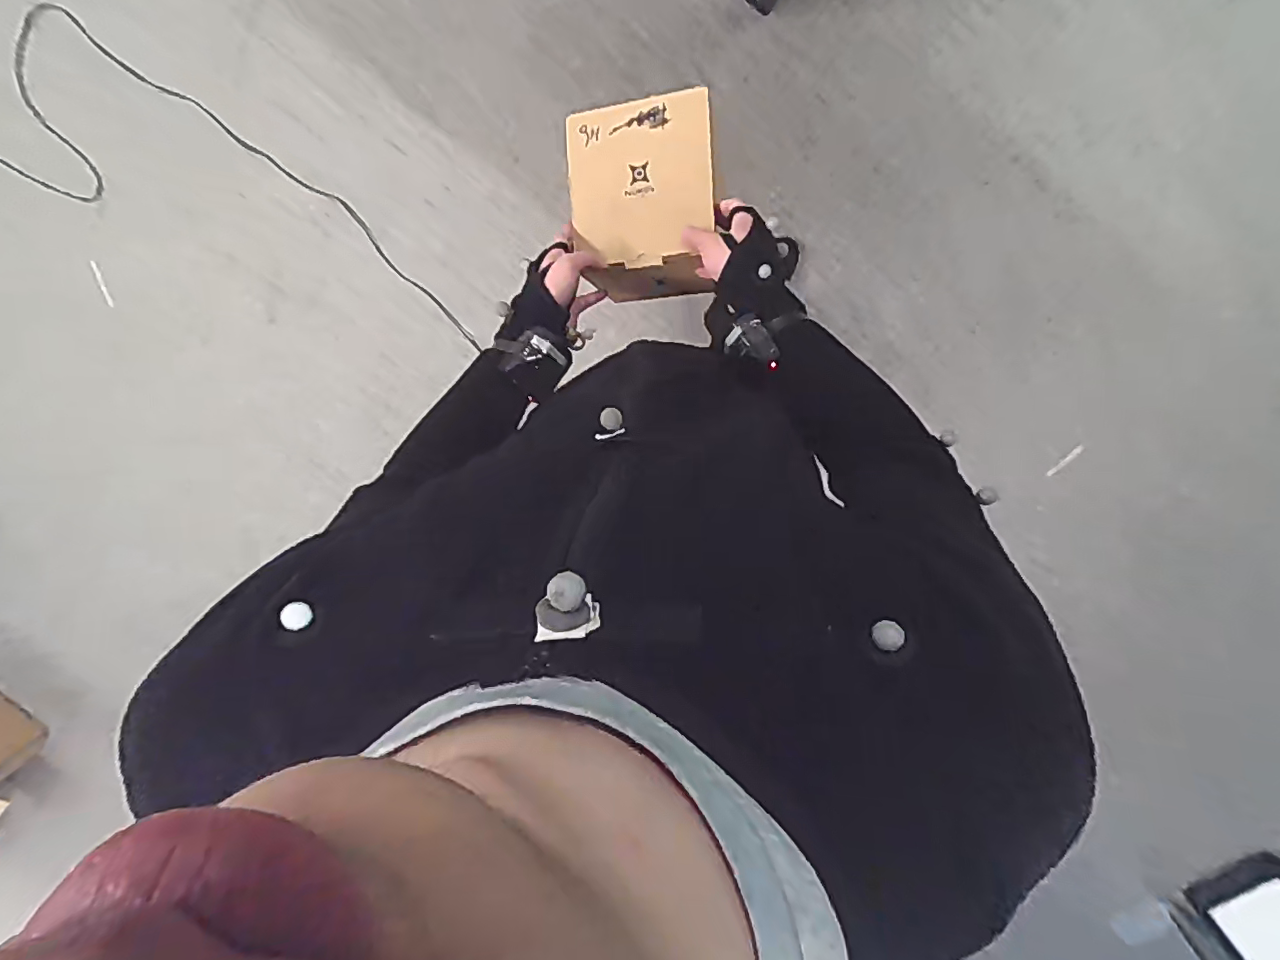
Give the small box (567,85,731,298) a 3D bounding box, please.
[{"bbox_3d":[0.021,-0.331,0.665,0.168,0.176,0.179,-2,95,14],"label":"small box"}]
